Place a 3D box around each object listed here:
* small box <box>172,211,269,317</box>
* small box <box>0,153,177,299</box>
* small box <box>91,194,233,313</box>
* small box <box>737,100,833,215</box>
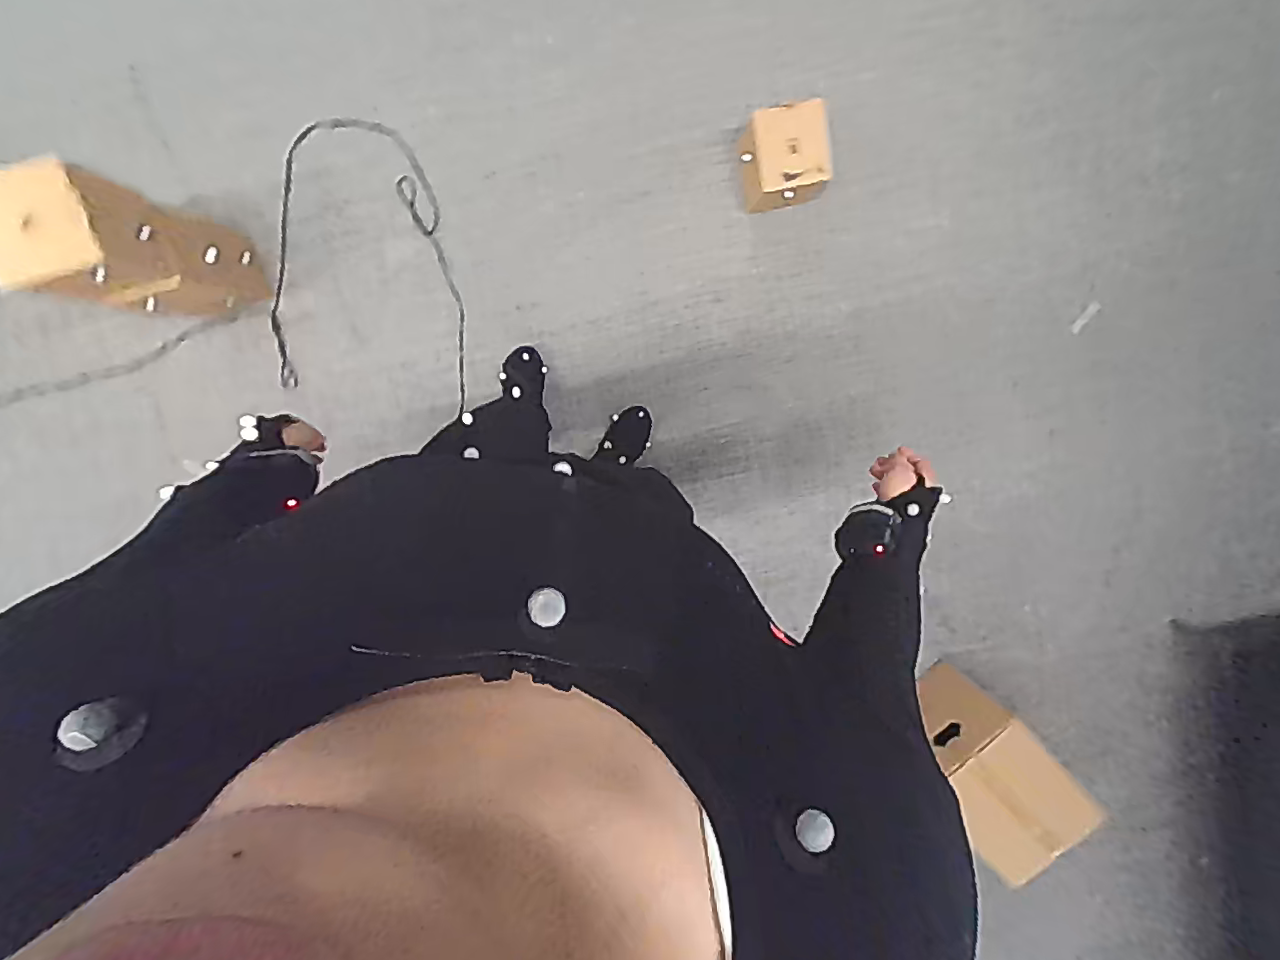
[{"bbox_3d":[-1.015,-0.496,1.266,0.179,0.176,0.168,-20,100,1],"label":"small box"},{"bbox_3d":[-0.986,-0.431,0.947,0.179,0.176,0.168,-17,101,-1],"label":"small box"},{"bbox_3d":[-0.998,-0.452,1.108,0.179,0.176,0.168,-16,101,-1],"label":"small box"},{"bbox_3d":[0.341,-0.765,1.297,0.168,0.176,0.179,-11,100,-1],"label":"small box"}]
